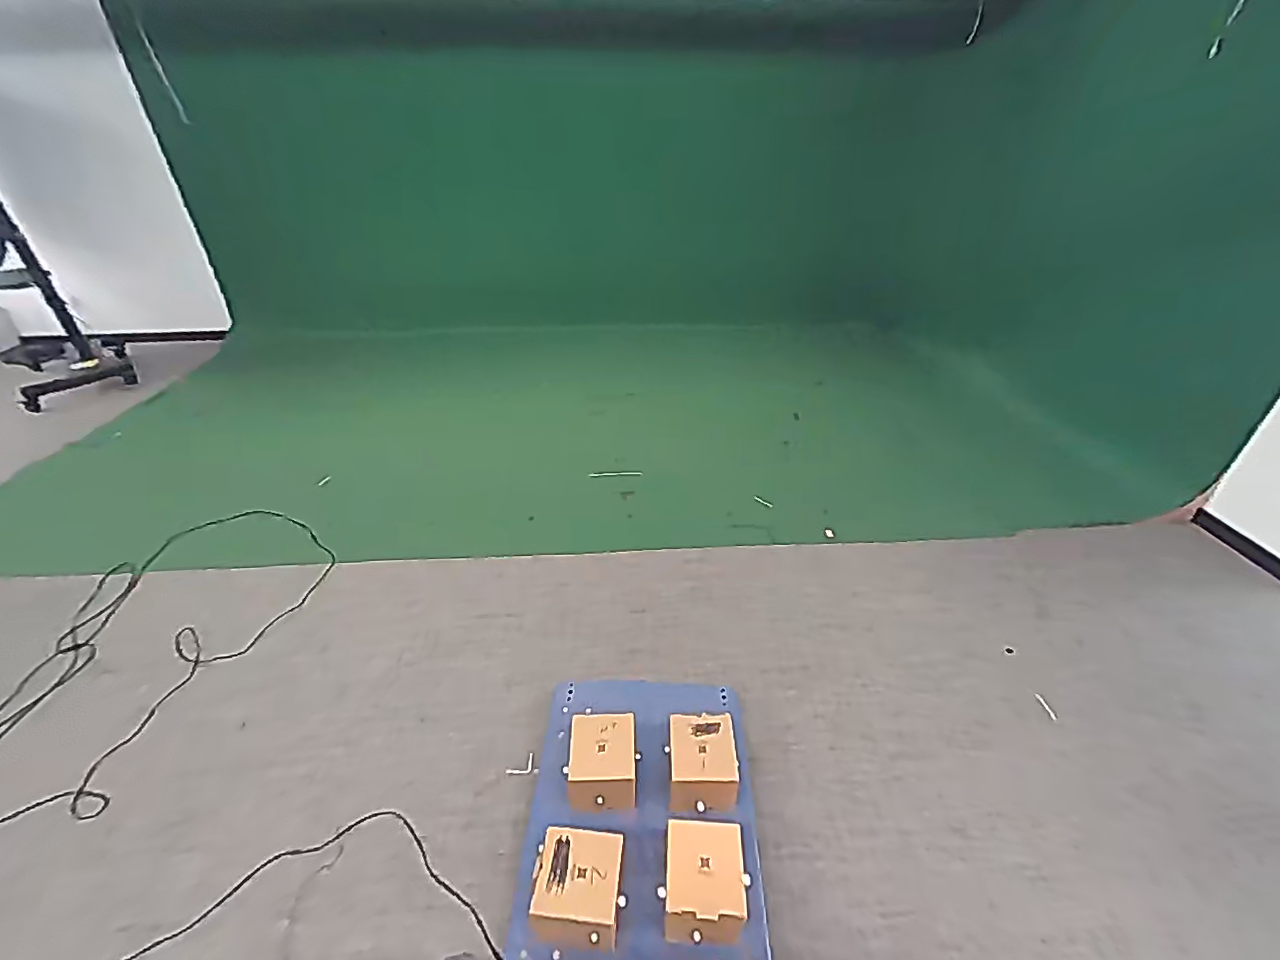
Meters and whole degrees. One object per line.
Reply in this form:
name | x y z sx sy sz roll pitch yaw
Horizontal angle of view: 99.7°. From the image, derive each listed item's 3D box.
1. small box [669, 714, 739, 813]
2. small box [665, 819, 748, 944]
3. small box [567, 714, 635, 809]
small box | 0.162 0.743 1.420 0.168 0.176 0.179 0 36 1
small box | 0.141 0.894 1.206 0.168 0.176 0.179 2 35 3
small box | -0.096 0.742 1.423 0.168 0.176 0.179 0 35 -1
